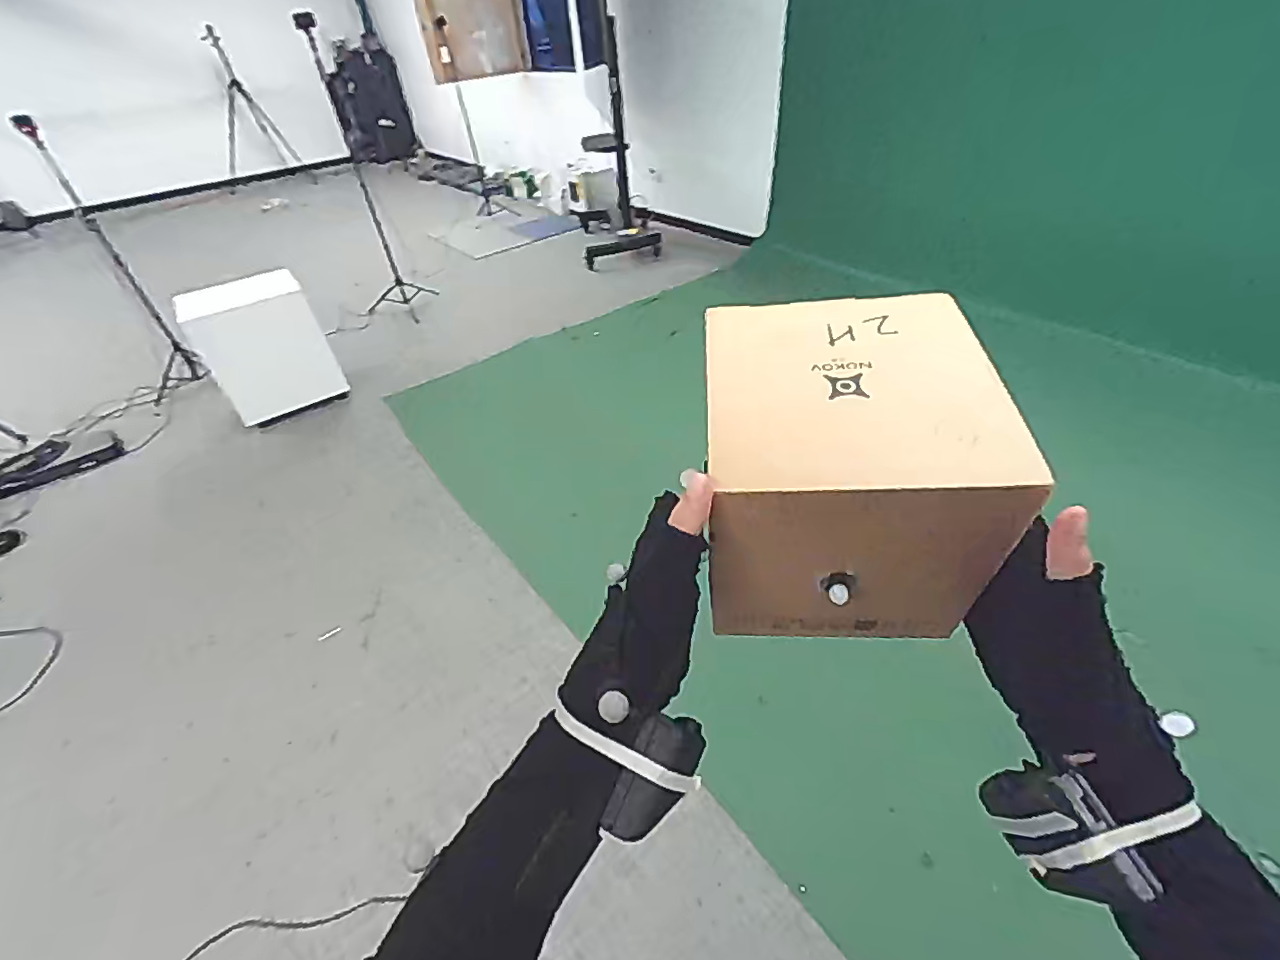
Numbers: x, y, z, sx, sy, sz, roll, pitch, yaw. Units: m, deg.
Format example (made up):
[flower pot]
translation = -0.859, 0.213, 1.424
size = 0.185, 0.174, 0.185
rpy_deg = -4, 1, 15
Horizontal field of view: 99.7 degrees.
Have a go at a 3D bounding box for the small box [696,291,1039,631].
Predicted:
[small box]
translation = 0.126, -0.007, 0.380
size = 0.168, 0.176, 0.179
rpy_deg = -1, 48, 7
